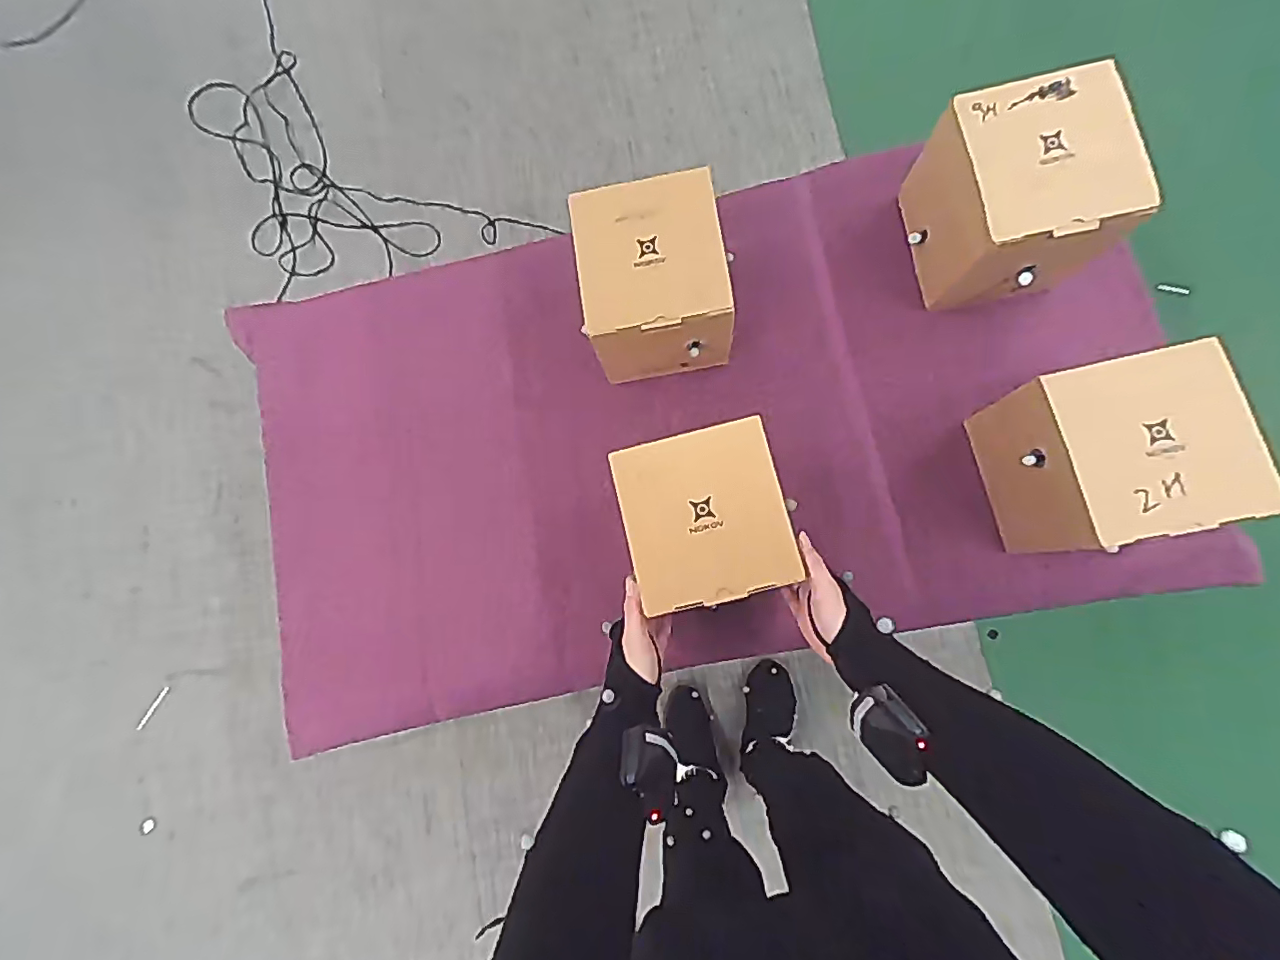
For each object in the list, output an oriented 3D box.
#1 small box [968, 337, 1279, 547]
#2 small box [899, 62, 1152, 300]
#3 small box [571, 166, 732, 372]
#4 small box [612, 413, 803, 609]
[{"bbox_3d":[0.495,-0.028,0.590,0.168,0.176,0.179,-12,80,6],"label":"small box"},{"bbox_3d":[0.435,-0.333,0.643,0.168,0.176,0.179,-10,84,5],"label":"small box"},{"bbox_3d":[0.019,-0.246,0.679,0.168,0.176,0.179,-8,81,4],"label":"small box"},{"bbox_3d":[0.072,0.043,0.631,0.168,0.176,0.179,-14,80,4],"label":"small box"}]
